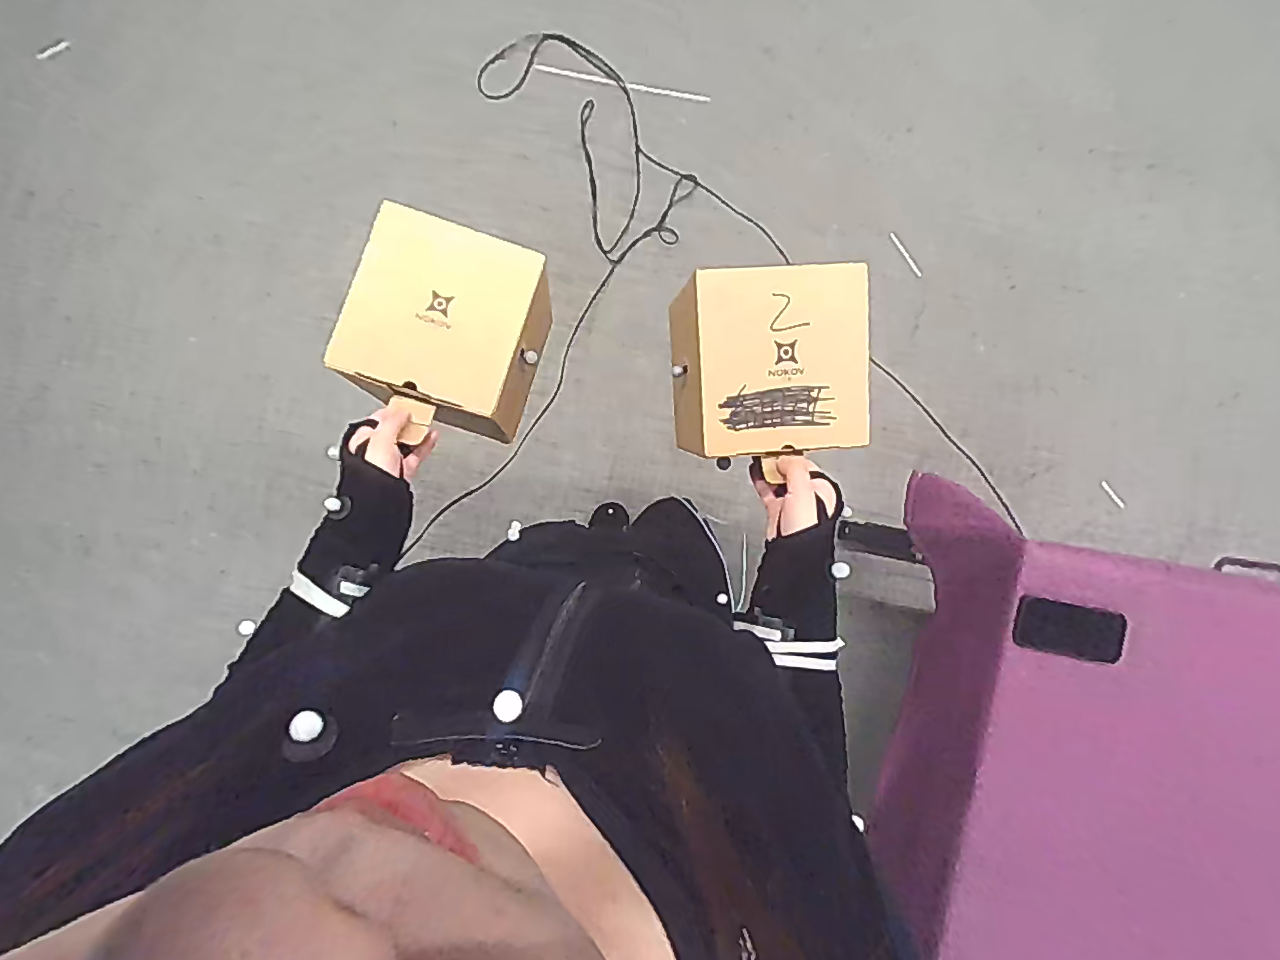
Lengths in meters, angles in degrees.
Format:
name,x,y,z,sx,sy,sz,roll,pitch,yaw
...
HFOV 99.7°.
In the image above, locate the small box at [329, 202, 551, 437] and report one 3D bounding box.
name,x,y,z,sx,sy,sz,roll,pitch,yaw
small box,-0.203,-0.161,0.604,0.168,0.176,0.179,17,85,-6
